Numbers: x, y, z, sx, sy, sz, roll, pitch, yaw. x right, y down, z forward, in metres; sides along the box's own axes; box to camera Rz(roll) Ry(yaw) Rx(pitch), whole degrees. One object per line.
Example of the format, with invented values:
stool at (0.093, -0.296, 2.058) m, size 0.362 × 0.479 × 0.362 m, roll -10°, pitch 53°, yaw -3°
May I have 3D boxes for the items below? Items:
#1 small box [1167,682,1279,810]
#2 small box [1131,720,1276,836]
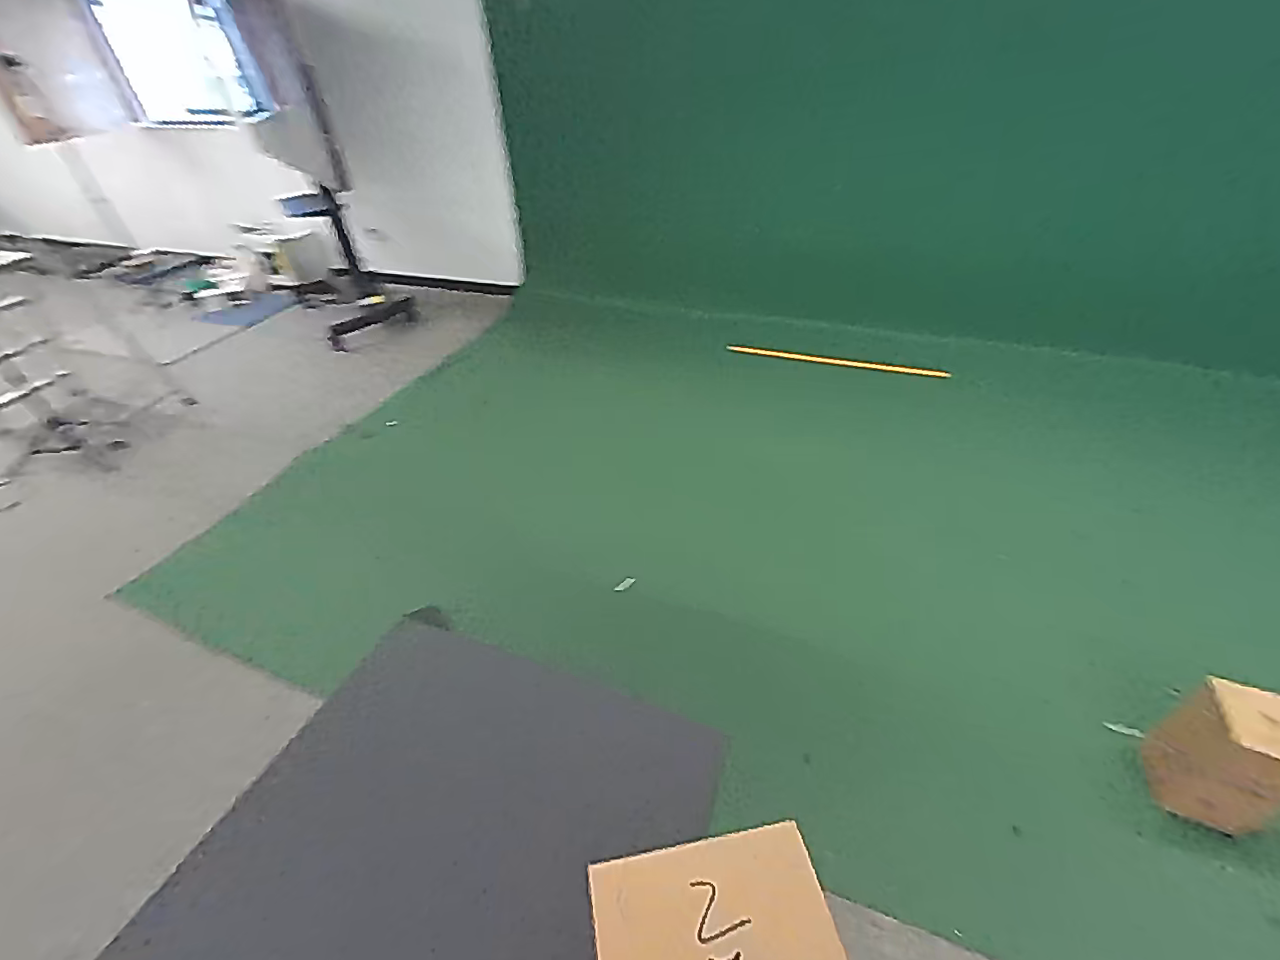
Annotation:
small box at (1.364, 0.606, 1.232) m, size 0.168 × 0.176 × 0.179 m, roll 13°, pitch 41°, yaw 19°
small box at (1.372, 0.737, 1.333) m, size 0.168 × 0.176 × 0.179 m, roll 12°, pitch 40°, yaw 17°
